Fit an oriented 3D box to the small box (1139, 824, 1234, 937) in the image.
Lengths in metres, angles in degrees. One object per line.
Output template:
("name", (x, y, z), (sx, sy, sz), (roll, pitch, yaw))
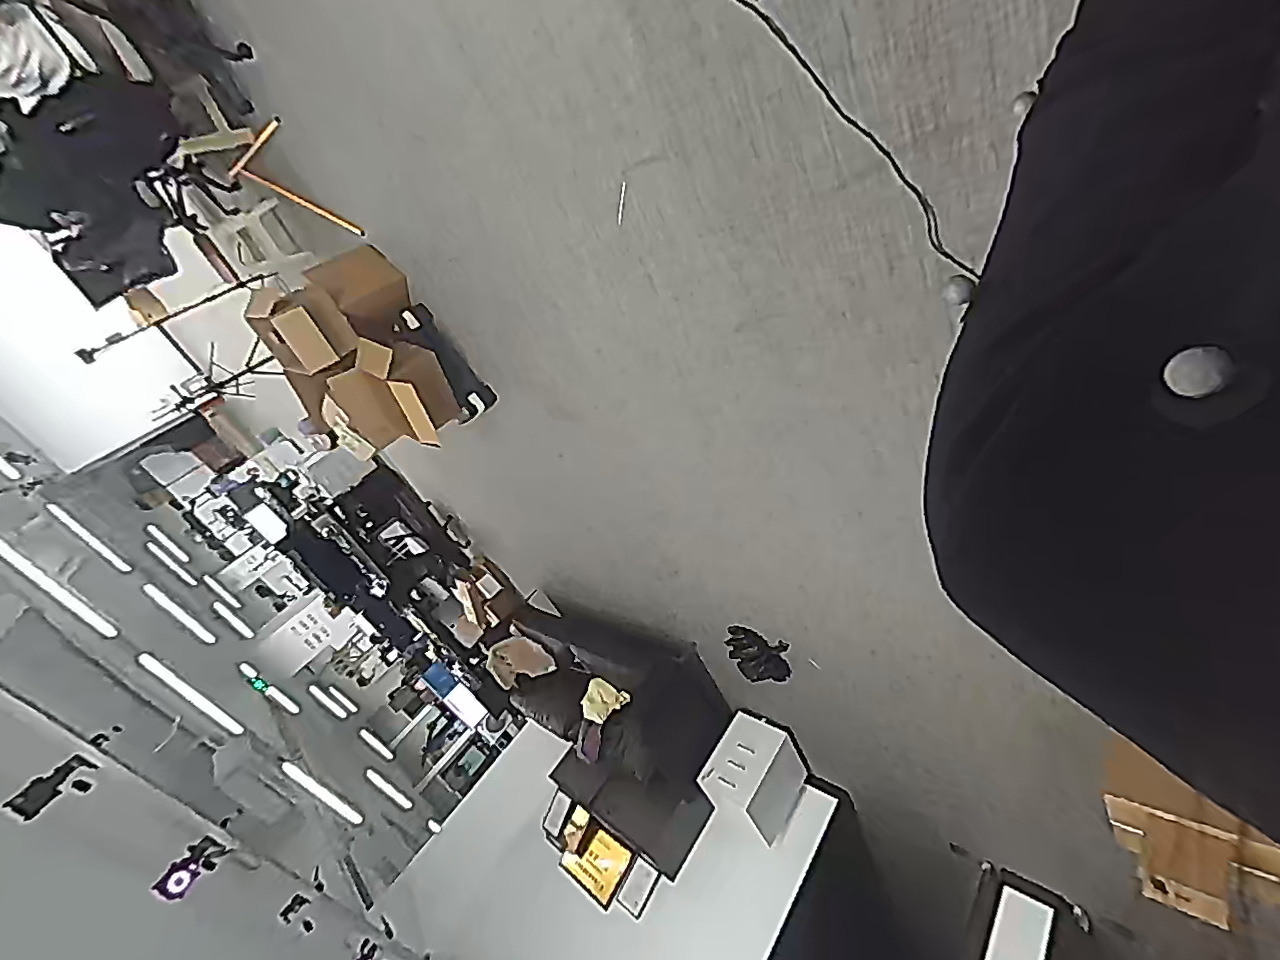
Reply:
("small box", (1.538, 1.113, 1.522), (0.179, 0.176, 0.168), (2, 129, 48))
